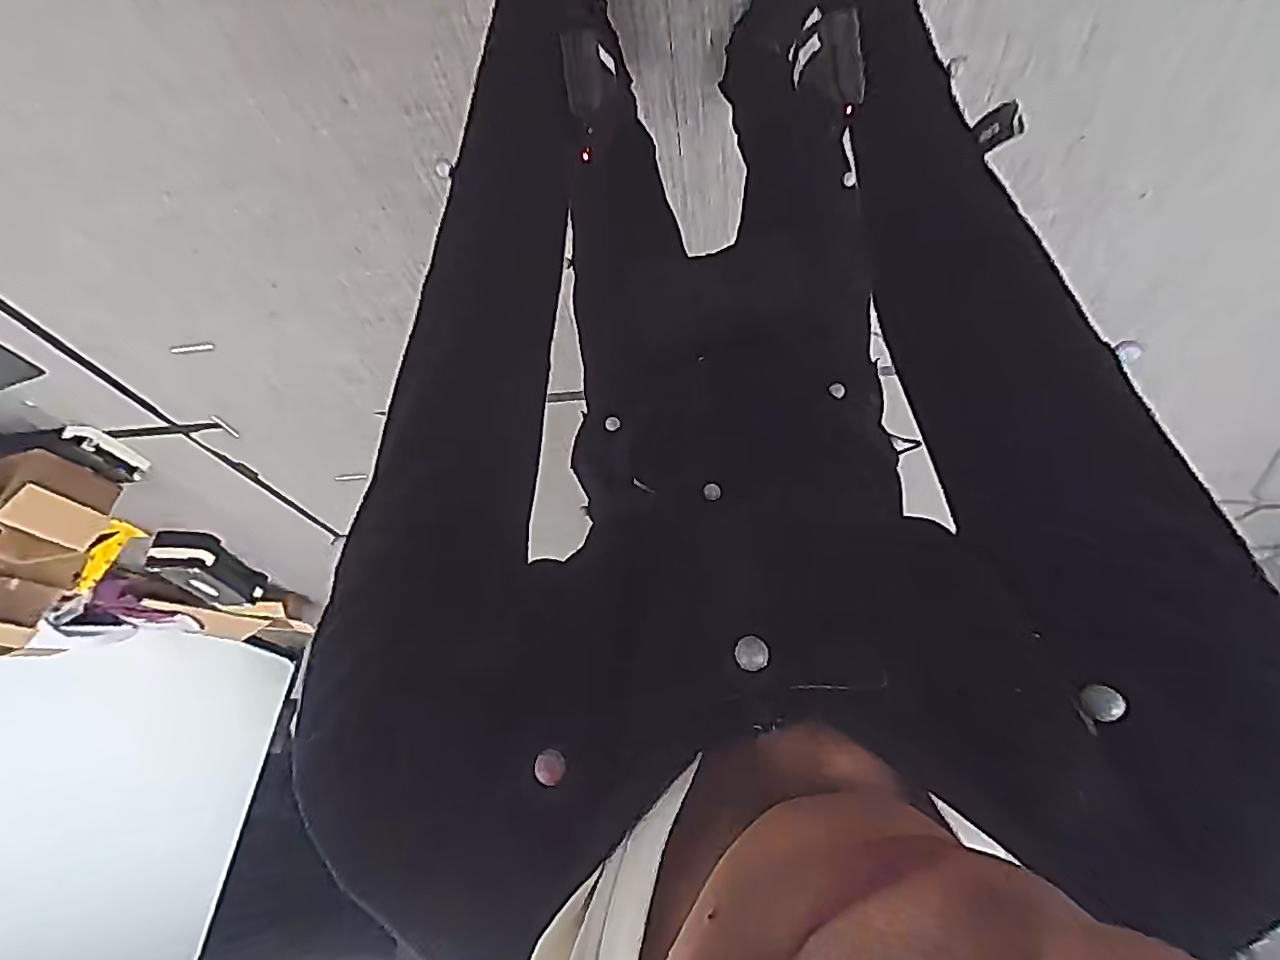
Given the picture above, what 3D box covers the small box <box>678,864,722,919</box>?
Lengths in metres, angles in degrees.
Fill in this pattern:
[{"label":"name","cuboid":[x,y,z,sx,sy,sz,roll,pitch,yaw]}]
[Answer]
[{"label":"small box","cuboid":[0.247,1.699,2.235,0.168,0.176,0.179,-5,148,8]}]
